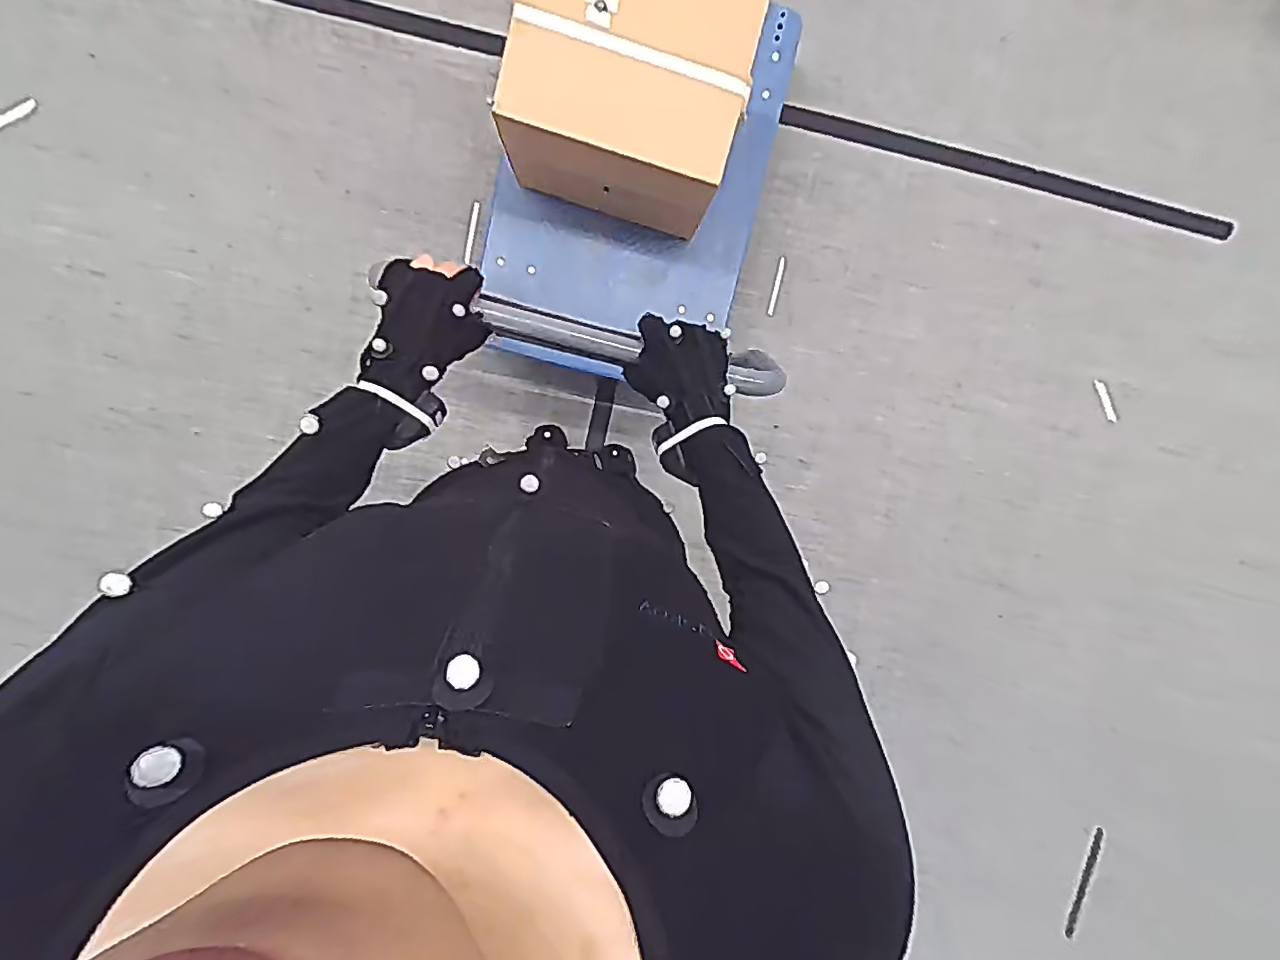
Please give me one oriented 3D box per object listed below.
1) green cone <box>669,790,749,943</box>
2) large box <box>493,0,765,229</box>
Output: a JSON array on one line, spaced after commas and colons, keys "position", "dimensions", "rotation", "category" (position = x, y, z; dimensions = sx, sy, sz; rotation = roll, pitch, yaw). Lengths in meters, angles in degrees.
[{"position": [0.218, 1.057, 1.454], "dimensions": [0.202, 0.368, 0.200], "rotation": [15, 96, -7], "category": "green cone"}, {"position": [-0.023, -0.735, 1.048], "dimensions": [0.408, 0.320, 0.320], "rotation": [15, 97, -5], "category": "large box"}]
